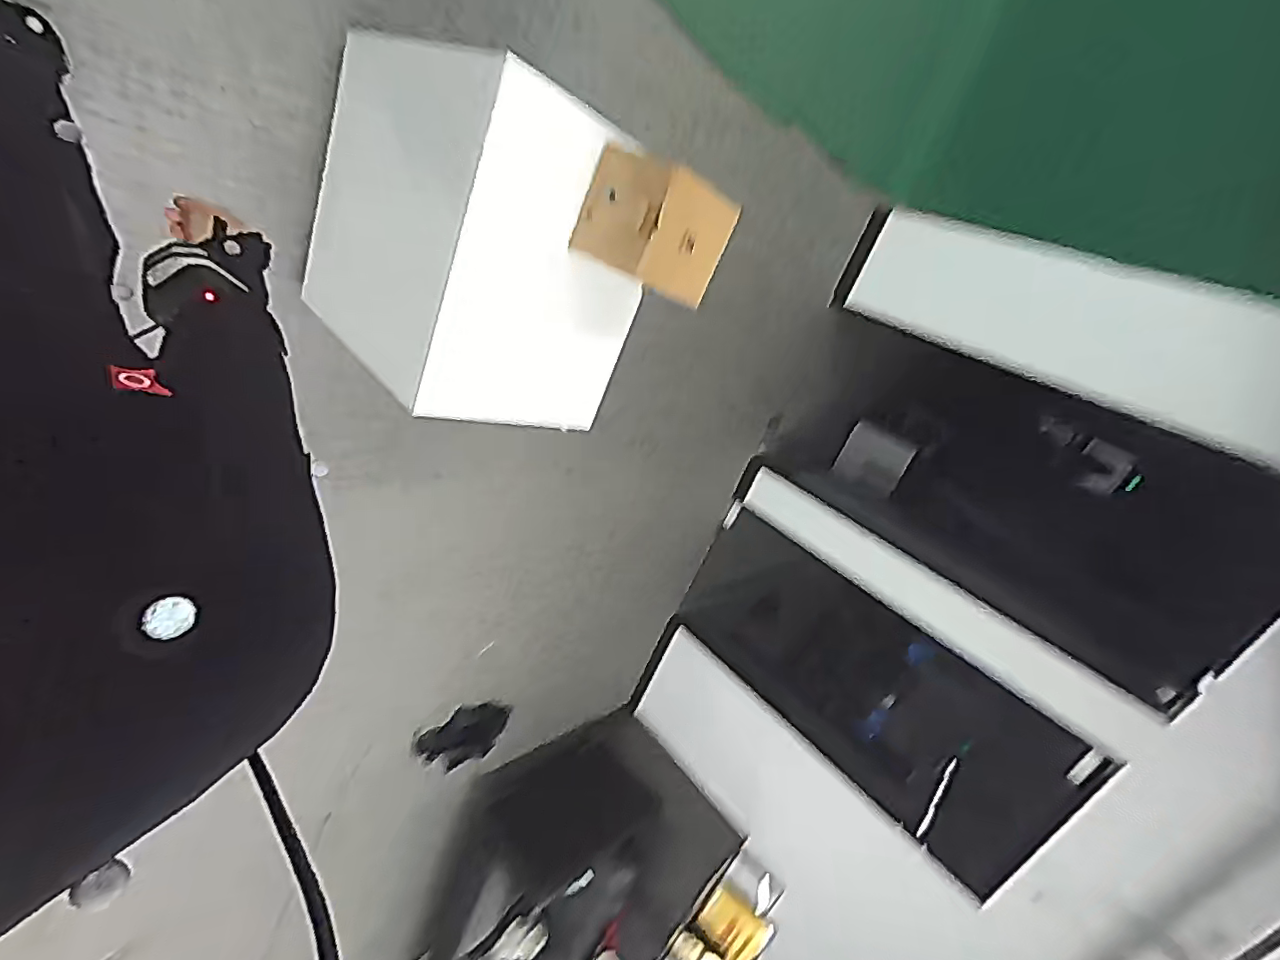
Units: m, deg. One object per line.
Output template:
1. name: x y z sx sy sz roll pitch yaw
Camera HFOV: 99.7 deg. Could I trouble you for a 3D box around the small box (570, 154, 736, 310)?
1. small box: 0.019 -0.406 0.891 0.179 0.176 0.168 0 121 -50
